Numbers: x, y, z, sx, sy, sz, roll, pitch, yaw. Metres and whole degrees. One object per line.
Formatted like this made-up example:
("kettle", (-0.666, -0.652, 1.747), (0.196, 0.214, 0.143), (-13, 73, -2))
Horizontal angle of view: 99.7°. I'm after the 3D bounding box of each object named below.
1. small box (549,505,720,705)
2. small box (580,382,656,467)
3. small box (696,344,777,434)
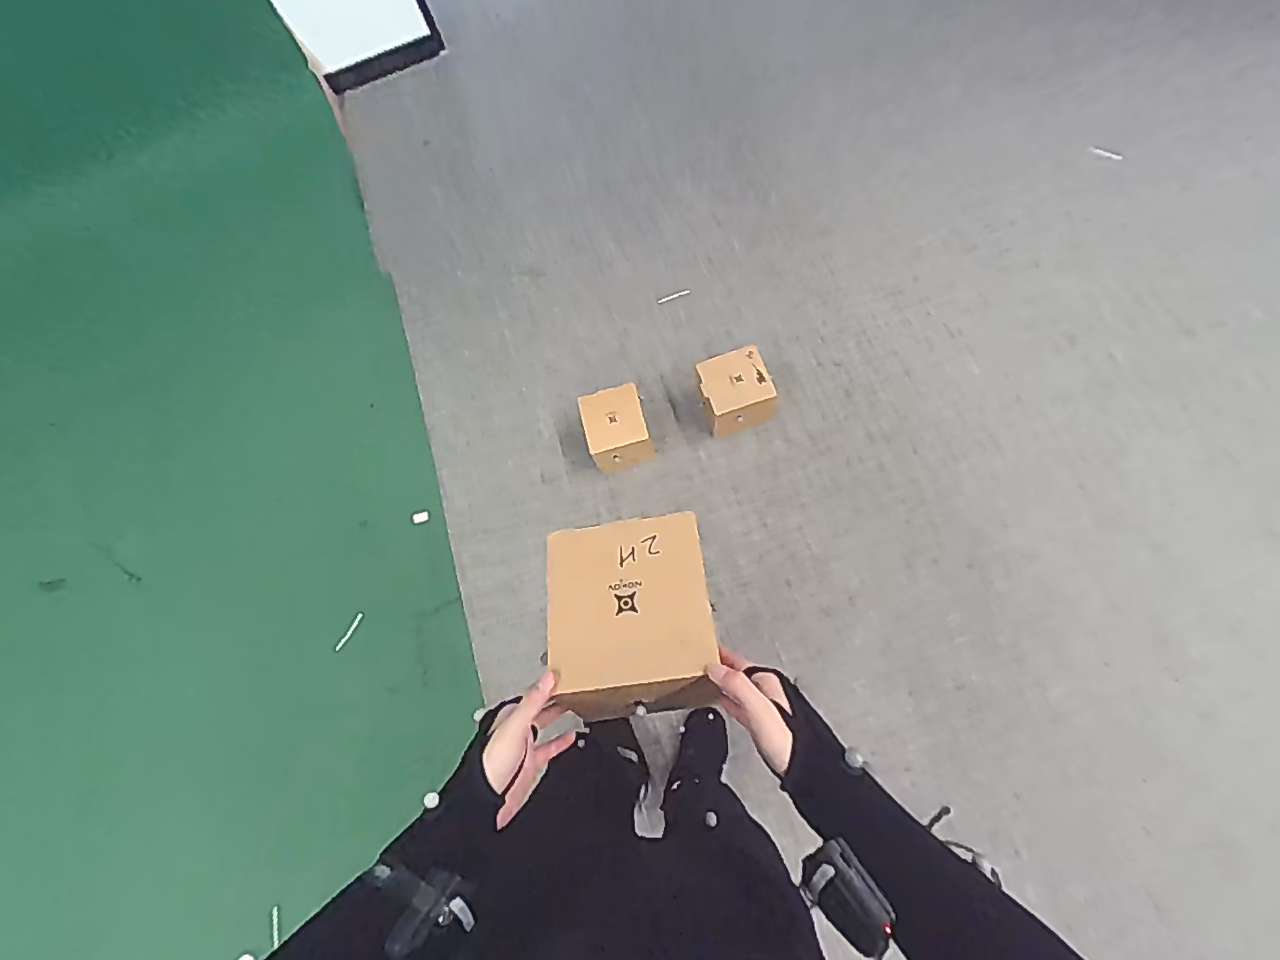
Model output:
("small box", (-0.002, 0.153, 0.623), (0.168, 0.176, 0.179), (-8, 57, 4))
("small box", (-0.058, -0.147, 1.542), (0.168, 0.176, 0.179), (-16, 71, 3))
("small box", (0.269, -0.249, 1.525), (0.179, 0.176, 0.168), (-19, 72, 2))
